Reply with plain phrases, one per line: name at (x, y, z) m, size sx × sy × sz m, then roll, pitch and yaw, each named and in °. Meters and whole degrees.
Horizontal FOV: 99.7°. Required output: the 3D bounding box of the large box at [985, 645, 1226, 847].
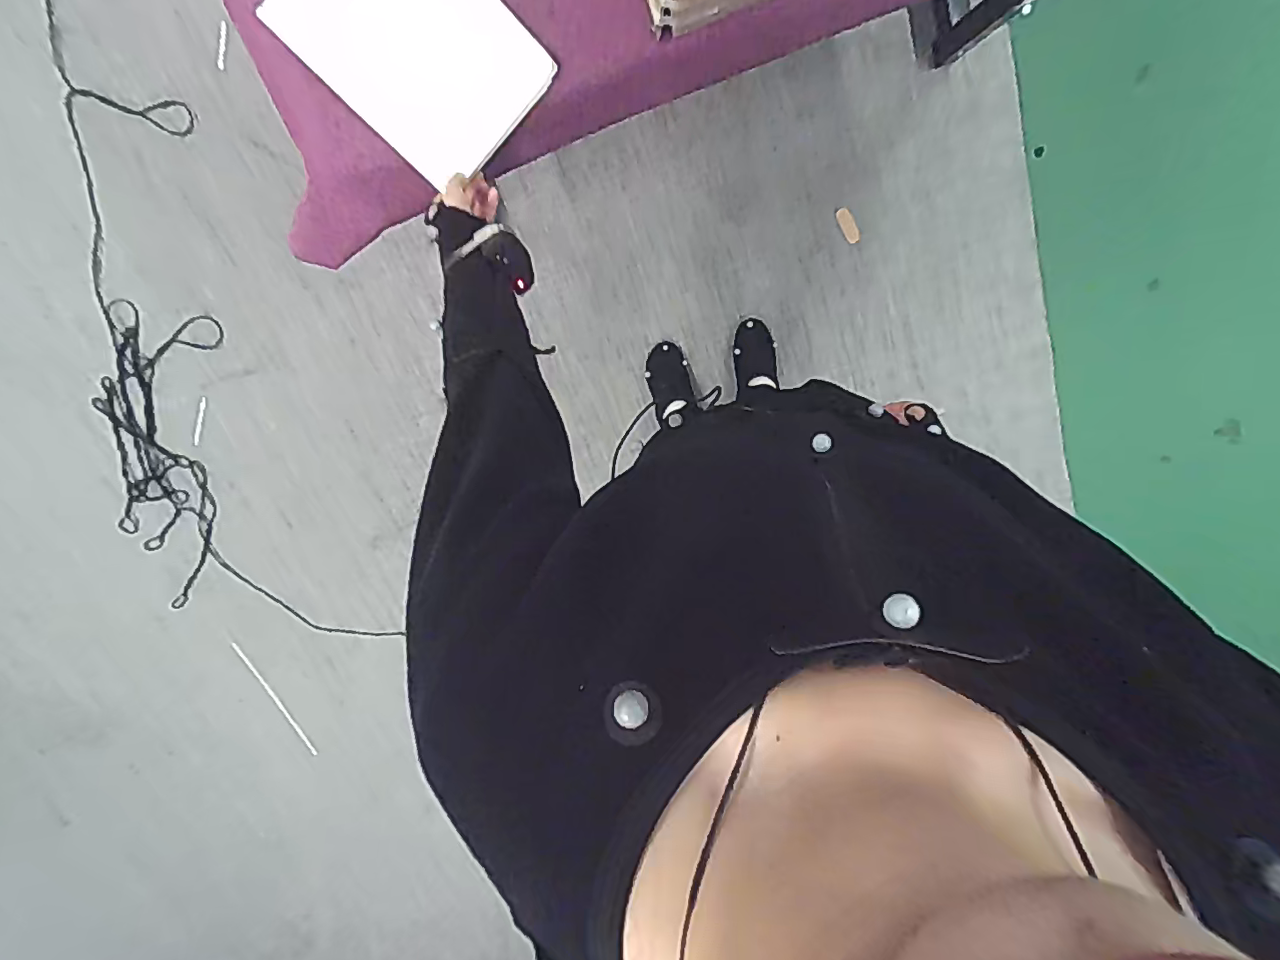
large box at (1.364, 0.781, 1.623) m, size 0.408 × 0.320 × 0.320 m, roll -34°, pitch 105°, yaw 8°
